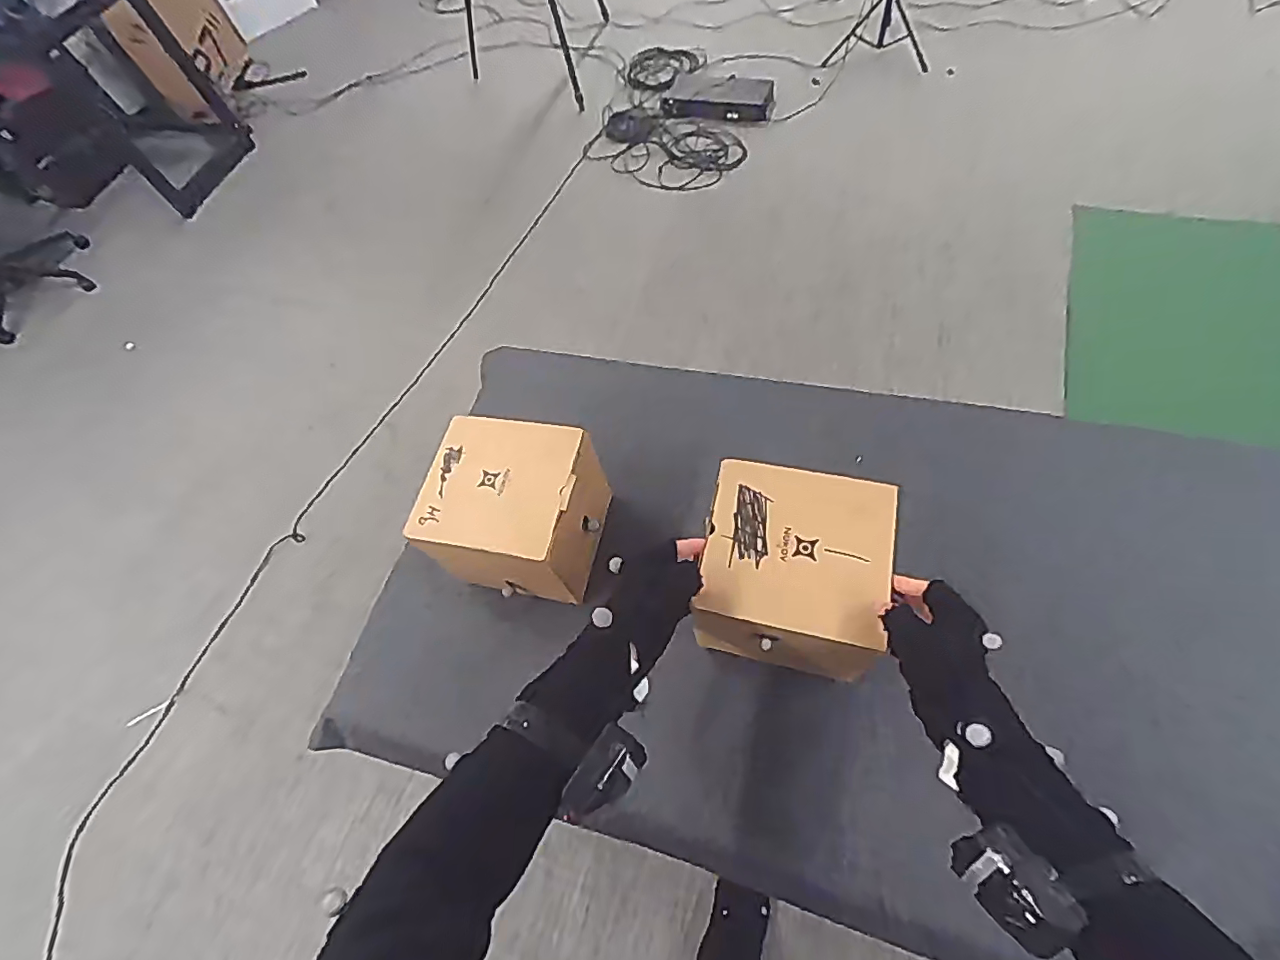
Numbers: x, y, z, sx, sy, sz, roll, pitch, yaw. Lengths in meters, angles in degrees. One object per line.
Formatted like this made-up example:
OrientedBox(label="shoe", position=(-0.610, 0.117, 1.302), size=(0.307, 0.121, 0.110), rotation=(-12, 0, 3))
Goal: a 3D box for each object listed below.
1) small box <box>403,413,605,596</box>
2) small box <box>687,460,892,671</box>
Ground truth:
OrientedBox(label="small box", position=(-0.154, 0.038, 0.688), size=(0.179, 0.176, 0.168), rotation=(8, 64, 12))
OrientedBox(label="small box", position=(0.158, 0.099, 0.594), size=(0.179, 0.176, 0.168), rotation=(10, 65, 13))
